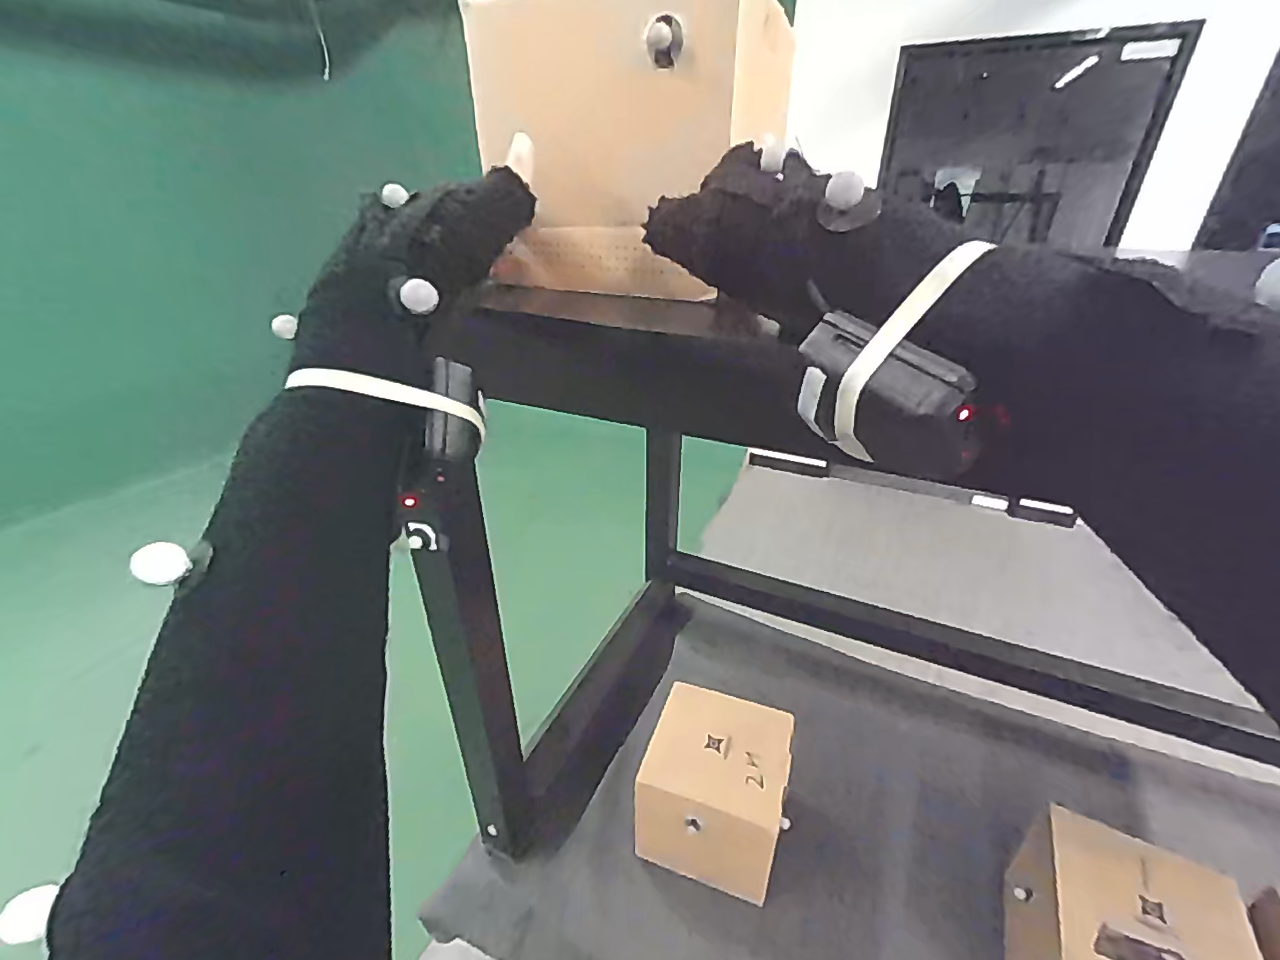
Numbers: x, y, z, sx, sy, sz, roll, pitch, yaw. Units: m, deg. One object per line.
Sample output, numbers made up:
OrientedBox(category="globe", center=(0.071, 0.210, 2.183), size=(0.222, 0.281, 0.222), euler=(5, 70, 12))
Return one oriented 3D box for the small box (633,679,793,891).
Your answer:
OrientedBox(category="small box", center=(0.100, 0.414, 0.741), size=(0.179, 0.176, 0.168), euler=(11, 31, 18))
